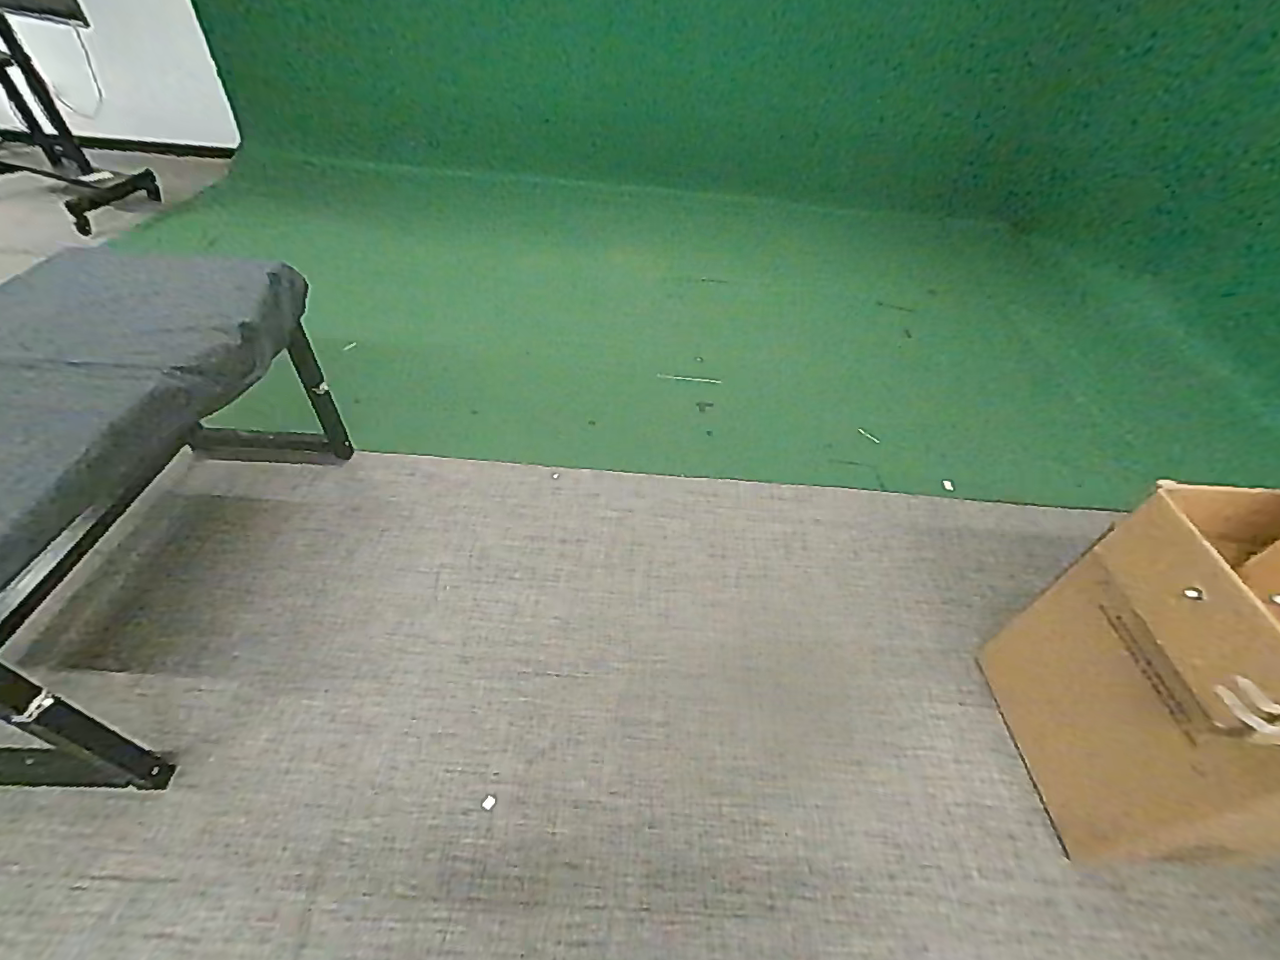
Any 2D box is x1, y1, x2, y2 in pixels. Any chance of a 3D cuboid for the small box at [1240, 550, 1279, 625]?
[{"bbox_3d":[1.232,0.199,0.927,0.168,0.176,0.179,5,46,-4],"label":"small box"}]
